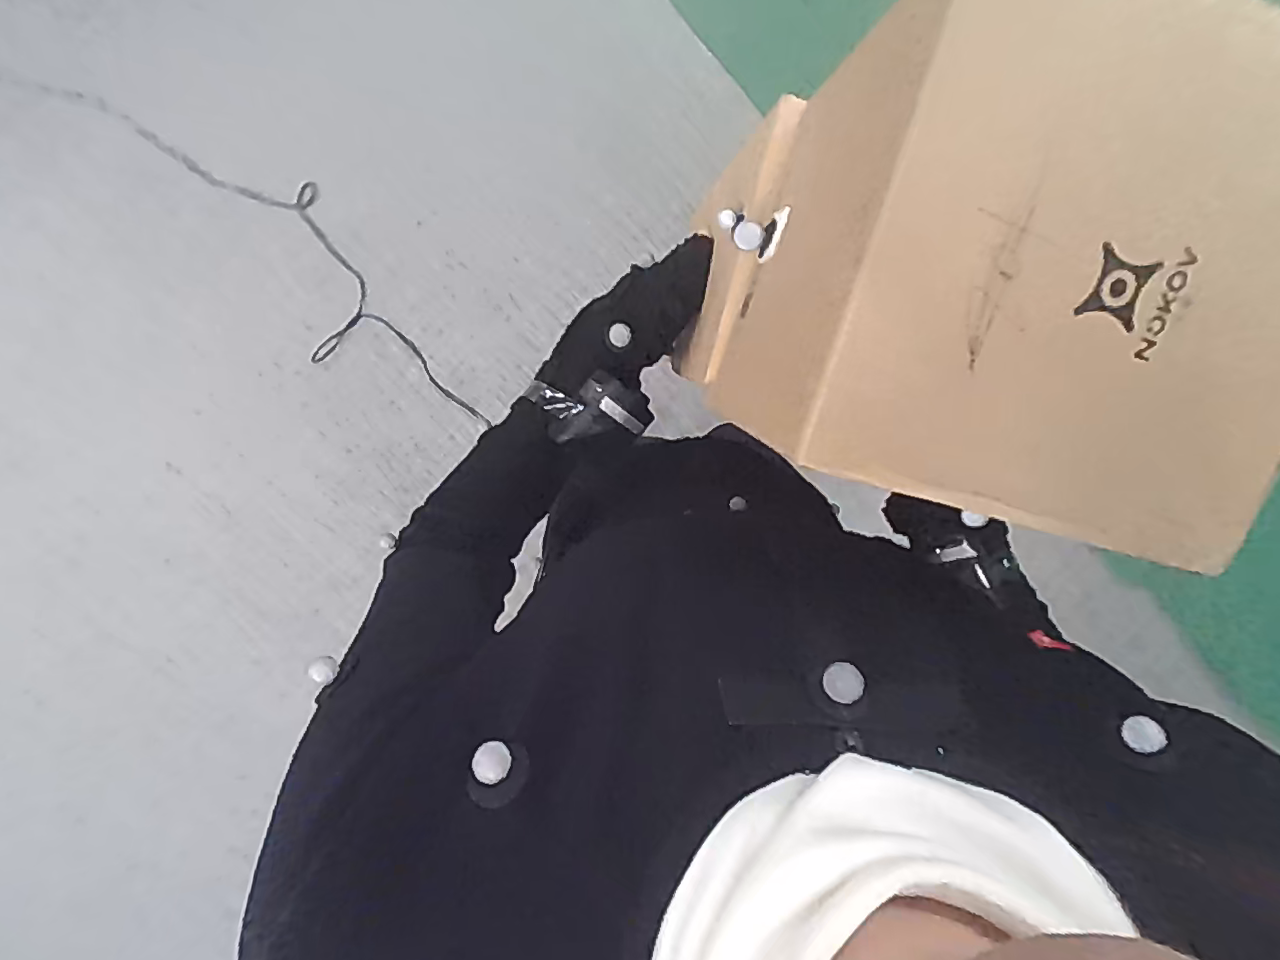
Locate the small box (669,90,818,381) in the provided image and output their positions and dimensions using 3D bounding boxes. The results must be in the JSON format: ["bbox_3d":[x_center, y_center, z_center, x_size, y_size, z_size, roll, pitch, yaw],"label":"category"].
[{"bbox_3d":[0.133,-0.143,0.406,0.179,0.176,0.168,12,102,-8],"label":"small box"}]

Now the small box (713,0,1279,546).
[{"bbox_3d":[0.149,-0.087,0.253,0.179,0.176,0.168,12,102,-6],"label":"small box"}]
